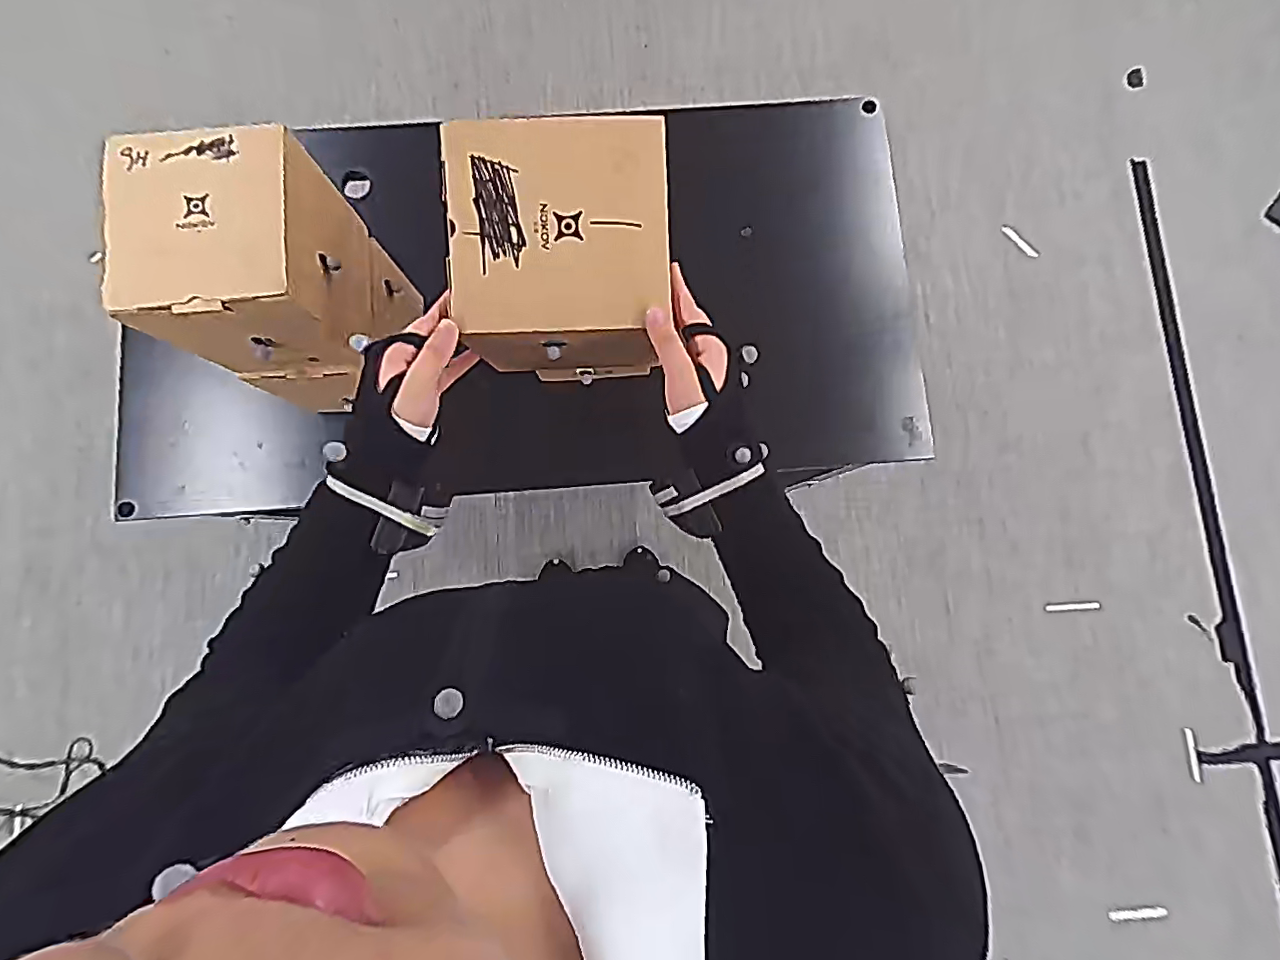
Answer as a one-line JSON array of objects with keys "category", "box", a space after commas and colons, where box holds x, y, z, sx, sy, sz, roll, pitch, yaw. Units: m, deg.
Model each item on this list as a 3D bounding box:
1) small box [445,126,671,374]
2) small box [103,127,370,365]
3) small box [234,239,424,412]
[{"category": "small box", "box": [-0.066, -0.195, 0.504, 0.179, 0.176, 0.168, -2, 92, -2]}, {"category": "small box", "box": [-0.406, -0.229, 0.574, 0.168, 0.176, 0.179, -5, 83, -2]}, {"category": "small box", "box": [-0.407, -0.201, 0.735, 0.168, 0.176, 0.179, -3, 83, -2]}]
